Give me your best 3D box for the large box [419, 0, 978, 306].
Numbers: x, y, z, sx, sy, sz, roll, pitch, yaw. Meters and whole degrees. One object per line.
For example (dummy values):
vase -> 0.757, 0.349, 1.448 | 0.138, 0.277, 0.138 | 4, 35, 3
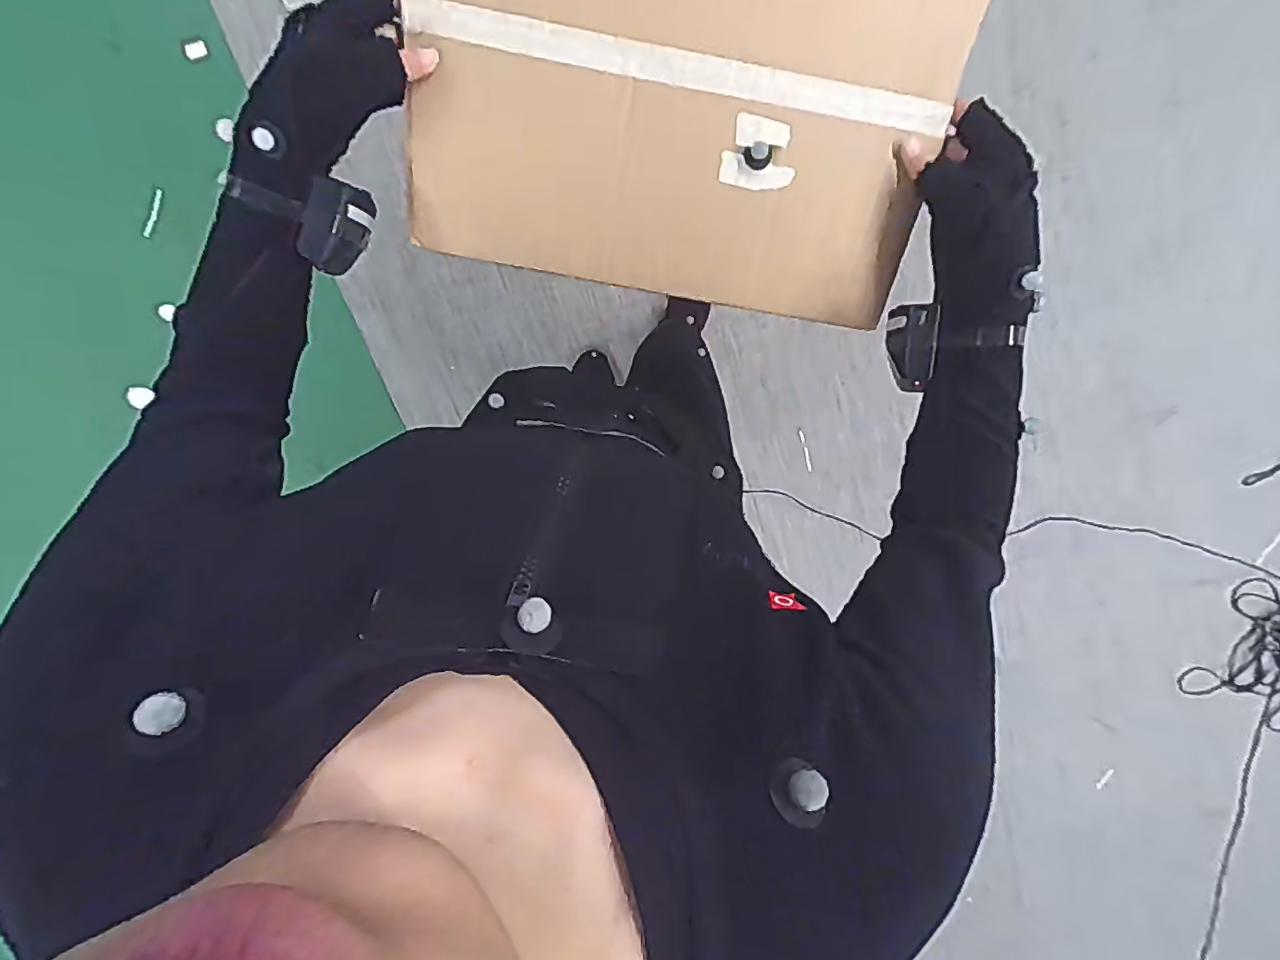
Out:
large box -> 0.033, -0.377, 0.535 | 0.408, 0.320, 0.320 | 8, 116, -5
